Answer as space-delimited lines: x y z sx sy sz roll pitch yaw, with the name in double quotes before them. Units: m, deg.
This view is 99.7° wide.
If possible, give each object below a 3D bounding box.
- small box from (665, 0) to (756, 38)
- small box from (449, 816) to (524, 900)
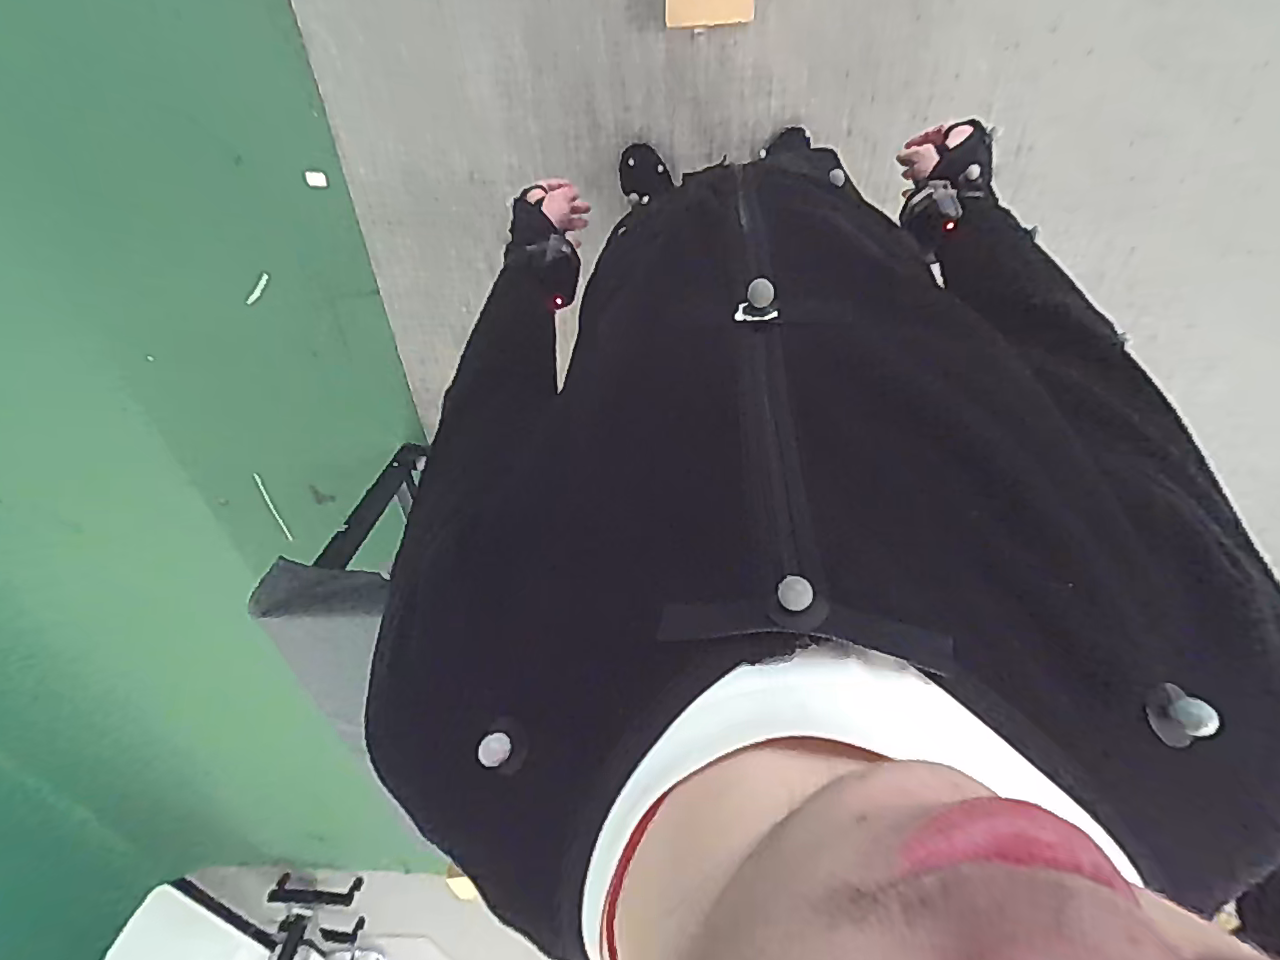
"small box" 0.132 -0.948 1.008 0.168 0.176 0.179 2 125 4
"small box" -0.466 1.162 1.665 0.168 0.176 0.179 -1 124 4
